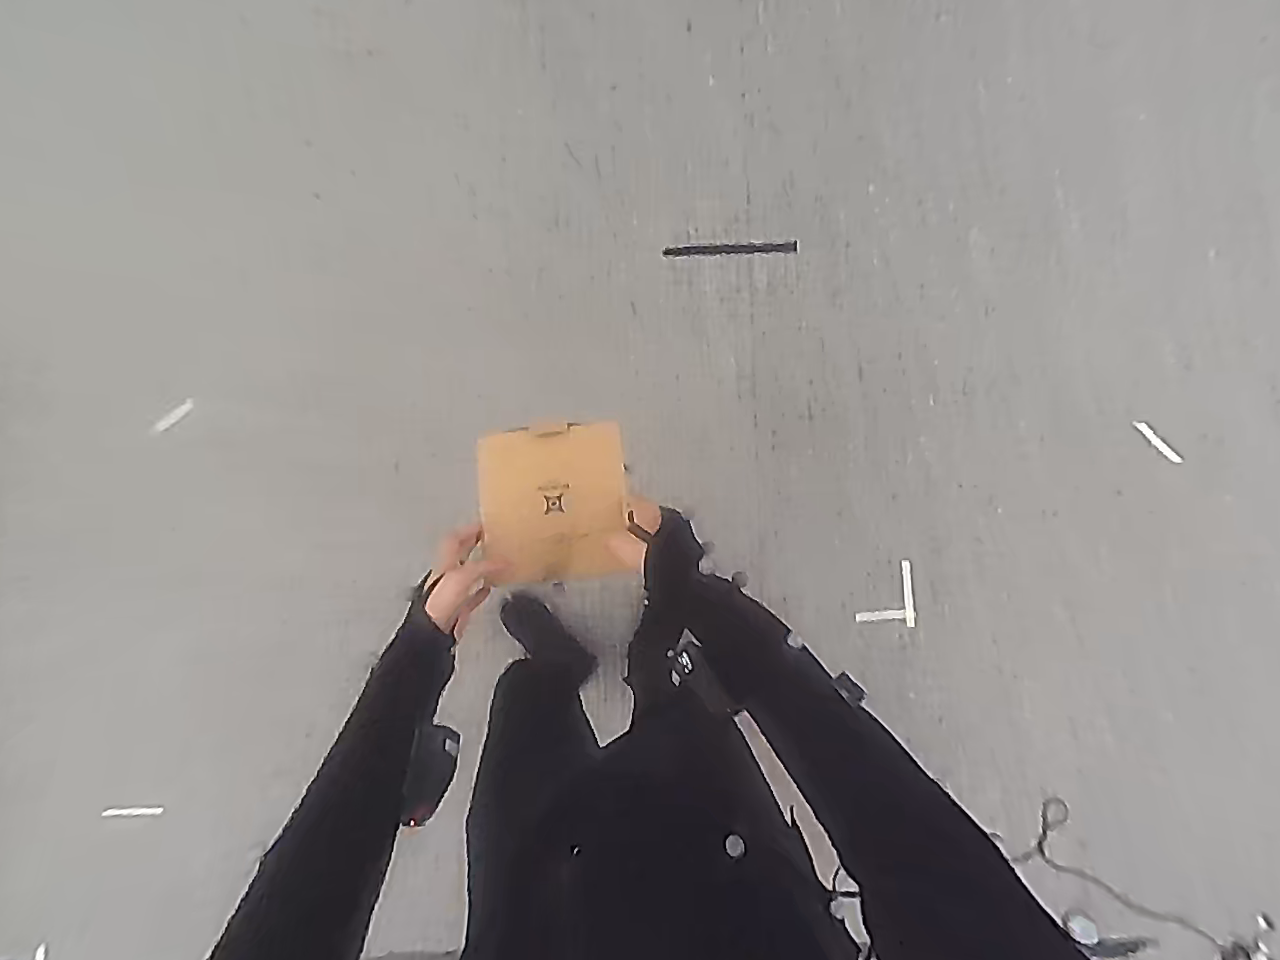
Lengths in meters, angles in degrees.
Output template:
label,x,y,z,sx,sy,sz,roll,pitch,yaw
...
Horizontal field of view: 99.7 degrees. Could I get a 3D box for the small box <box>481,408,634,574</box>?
label,x,y,z,sx,sy,sz,roll,pitch,yaw
small box,-0.099,0.022,0.686,0.168,0.176,0.179,-5,79,-2
